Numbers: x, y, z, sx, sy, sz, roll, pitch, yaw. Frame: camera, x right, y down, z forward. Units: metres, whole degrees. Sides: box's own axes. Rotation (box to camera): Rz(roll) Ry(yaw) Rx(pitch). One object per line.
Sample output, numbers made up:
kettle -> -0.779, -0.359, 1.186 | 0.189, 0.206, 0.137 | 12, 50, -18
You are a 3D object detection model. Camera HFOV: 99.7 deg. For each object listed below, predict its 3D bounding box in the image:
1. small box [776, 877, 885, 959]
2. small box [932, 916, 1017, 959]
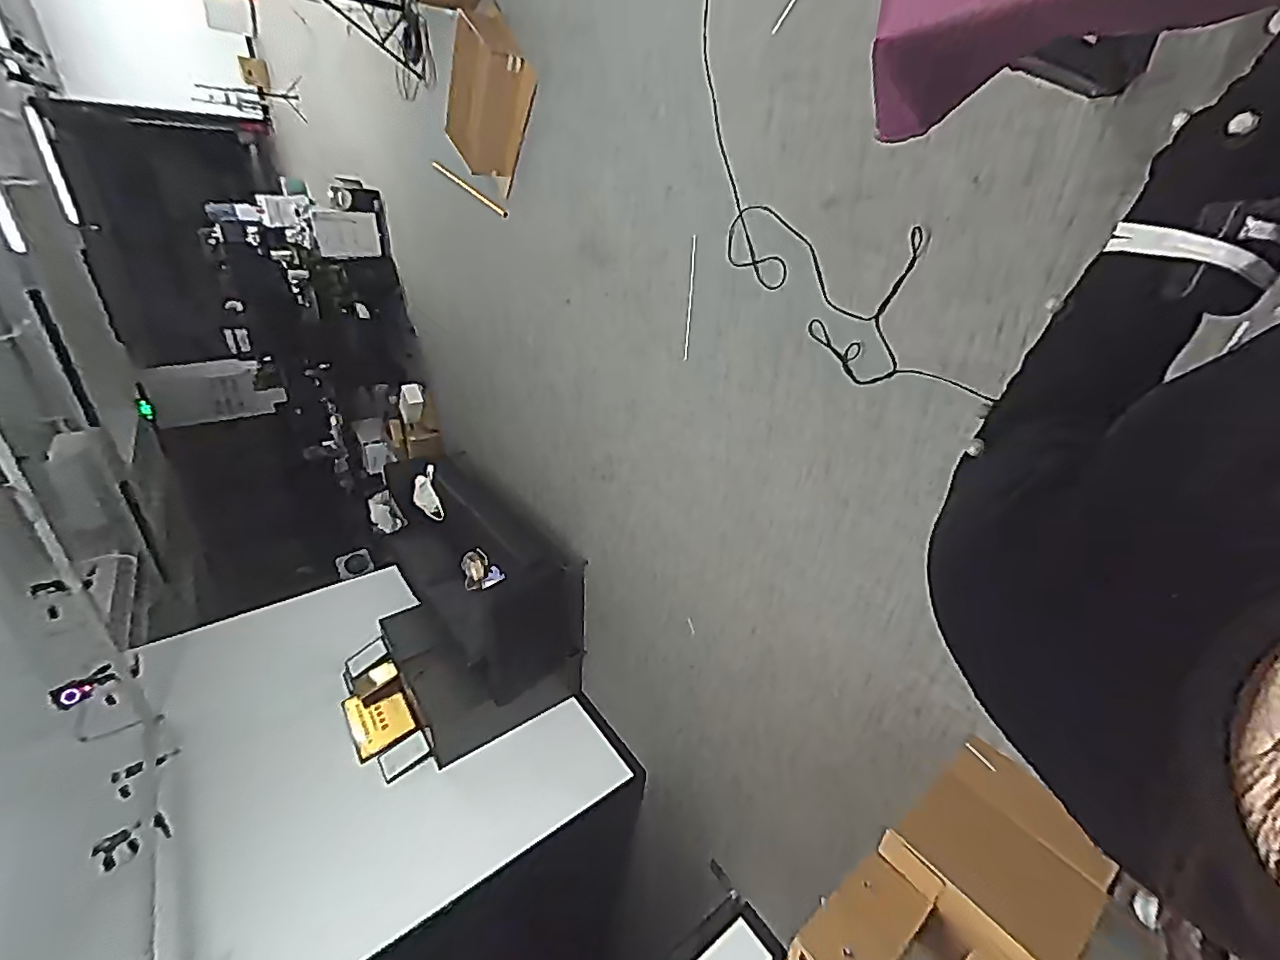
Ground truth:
small box -> 0.470, 1.142, 1.345 | 0.179, 0.176, 0.168 | 32, 131, 41
small box -> 0.764, 1.154, 1.231 | 0.168, 0.176, 0.179 | 35, 133, 43
